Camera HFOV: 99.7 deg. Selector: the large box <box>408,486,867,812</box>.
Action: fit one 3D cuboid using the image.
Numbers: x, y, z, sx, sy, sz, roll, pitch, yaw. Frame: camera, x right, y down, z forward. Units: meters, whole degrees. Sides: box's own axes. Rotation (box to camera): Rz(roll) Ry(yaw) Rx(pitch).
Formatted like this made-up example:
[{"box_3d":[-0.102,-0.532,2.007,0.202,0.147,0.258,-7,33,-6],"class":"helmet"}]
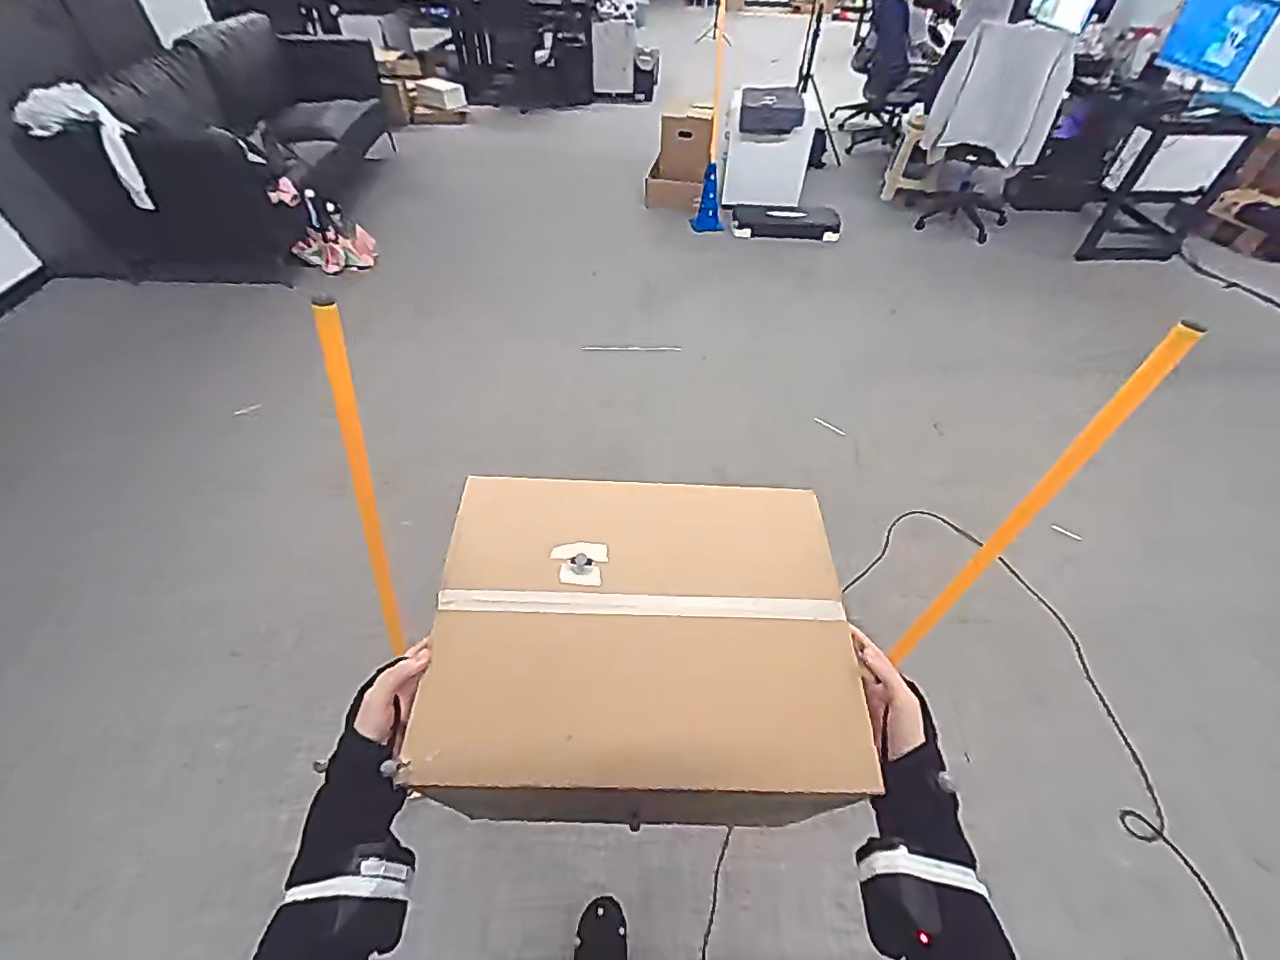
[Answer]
[{"box_3d":[-0.004,0.221,0.668,0.408,0.320,0.320,2,53,-2],"class":"large box"}]
